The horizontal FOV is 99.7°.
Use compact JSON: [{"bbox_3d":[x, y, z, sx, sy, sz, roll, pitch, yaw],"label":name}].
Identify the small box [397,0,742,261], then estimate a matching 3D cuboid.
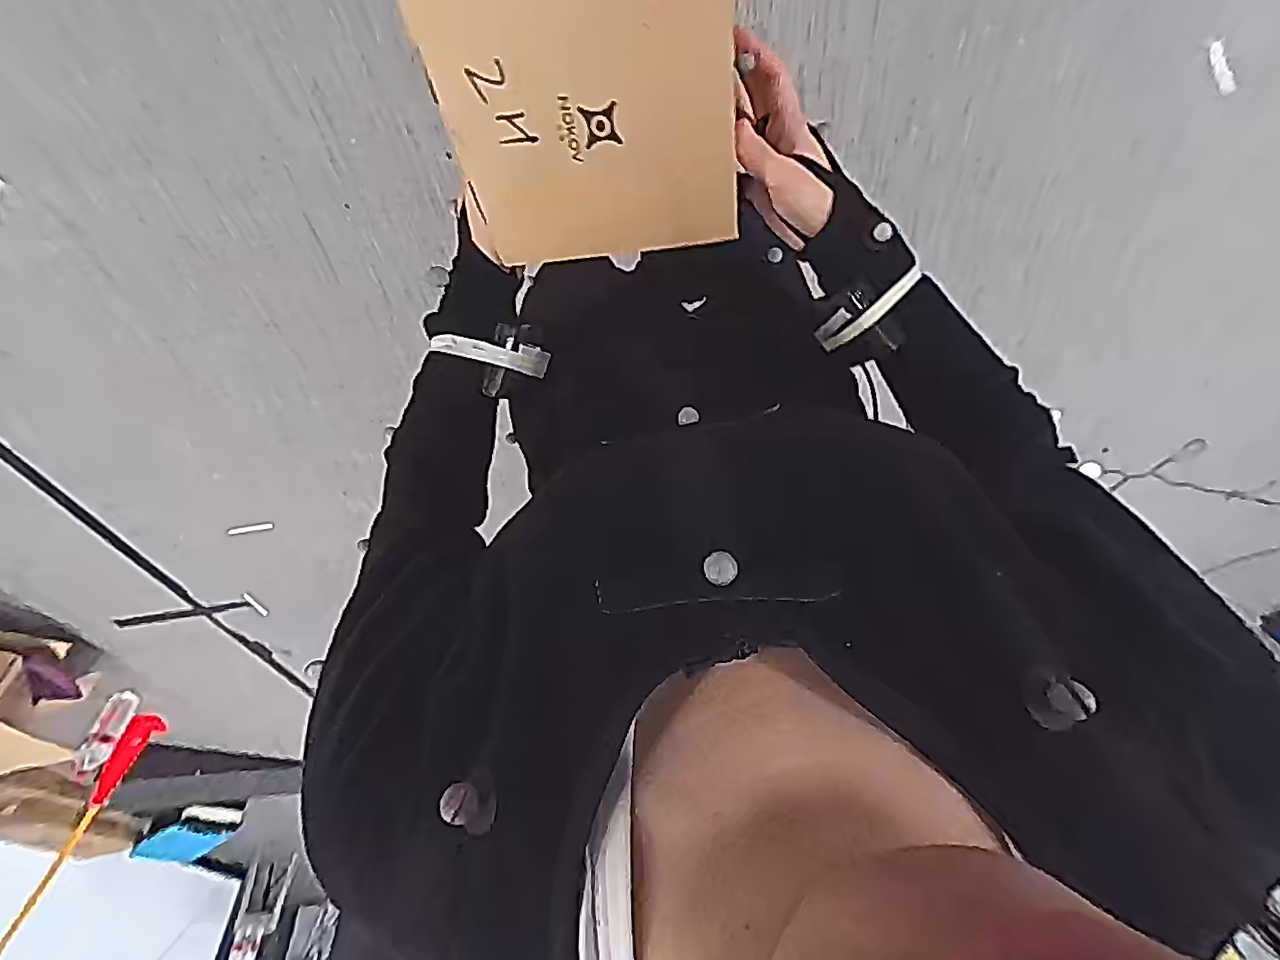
[{"bbox_3d":[-0.026,-0.281,0.372,0.179,0.176,0.168,-4,141,11],"label":"small box"}]
